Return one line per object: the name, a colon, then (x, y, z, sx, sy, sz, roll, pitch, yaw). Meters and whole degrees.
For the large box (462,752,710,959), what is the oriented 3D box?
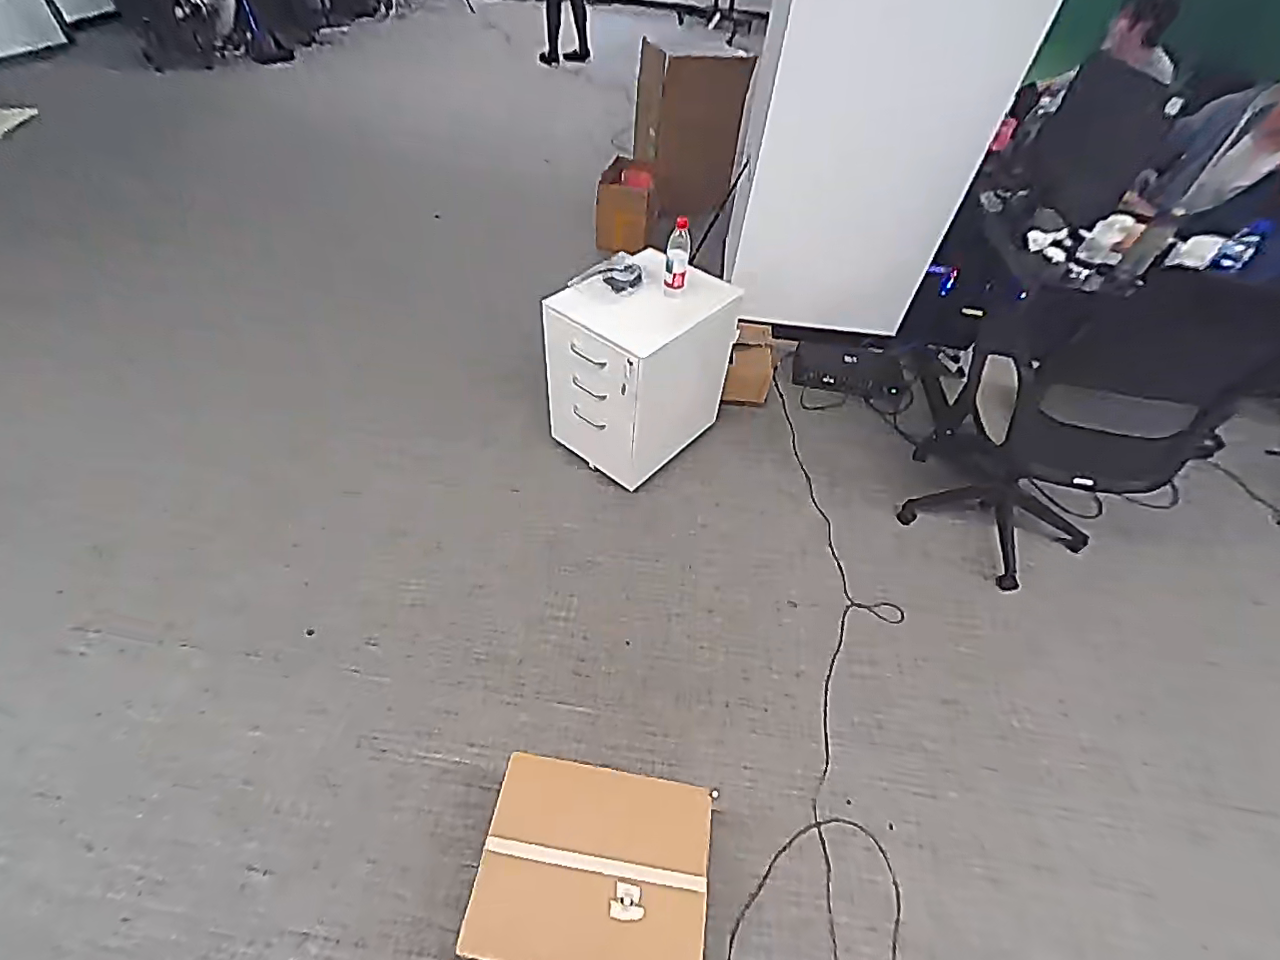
large box: (-0.093, 0.785, 1.086, 0.408, 0.320, 0.320, 10, 49, 2)
